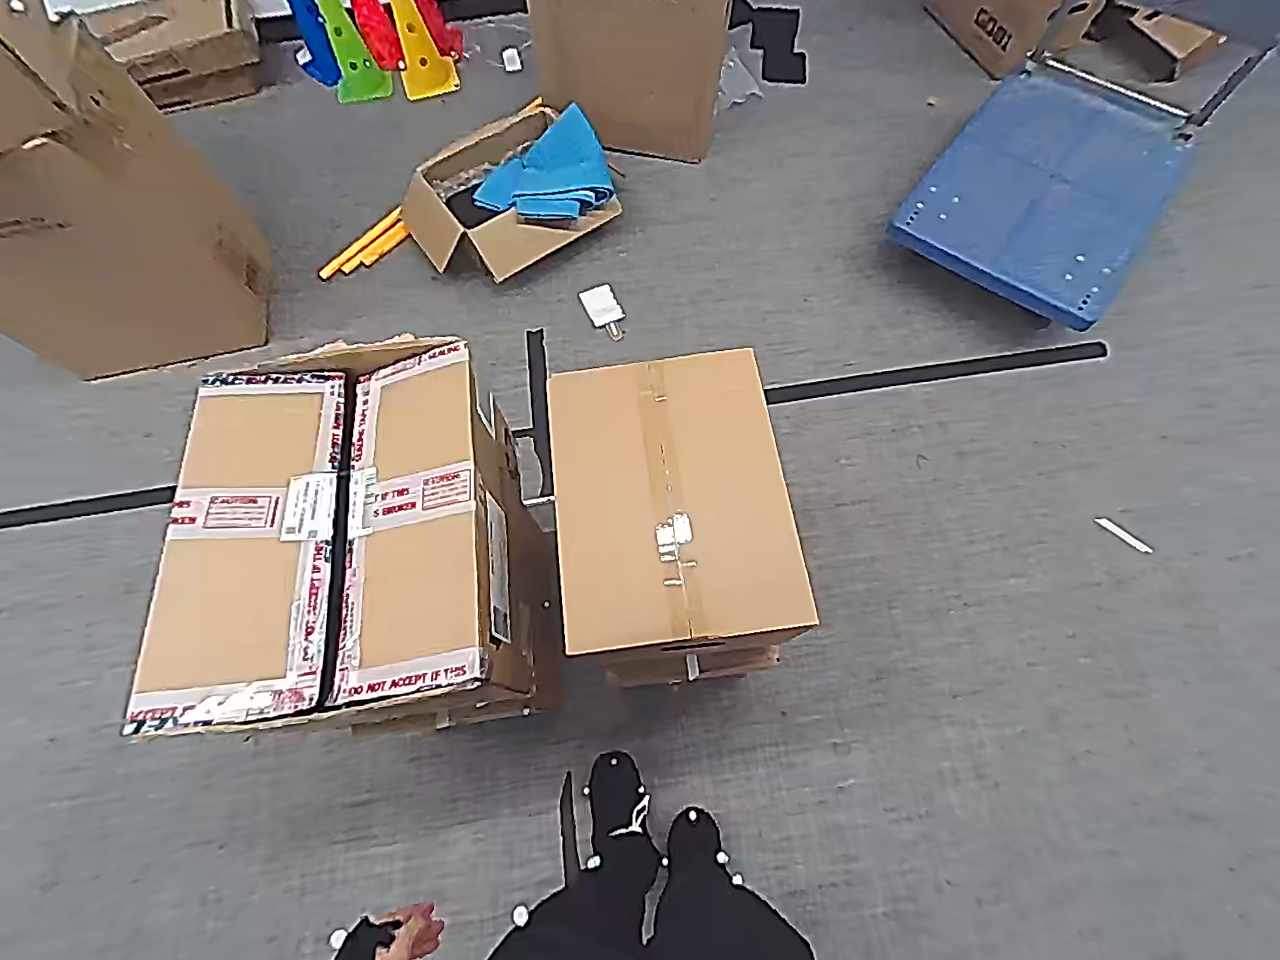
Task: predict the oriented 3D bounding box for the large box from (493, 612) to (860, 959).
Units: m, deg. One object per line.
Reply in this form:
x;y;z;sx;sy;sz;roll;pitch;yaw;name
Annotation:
0.033;0.477;0.774;0.320;0.320;0.408;-33;108;-12;large box
